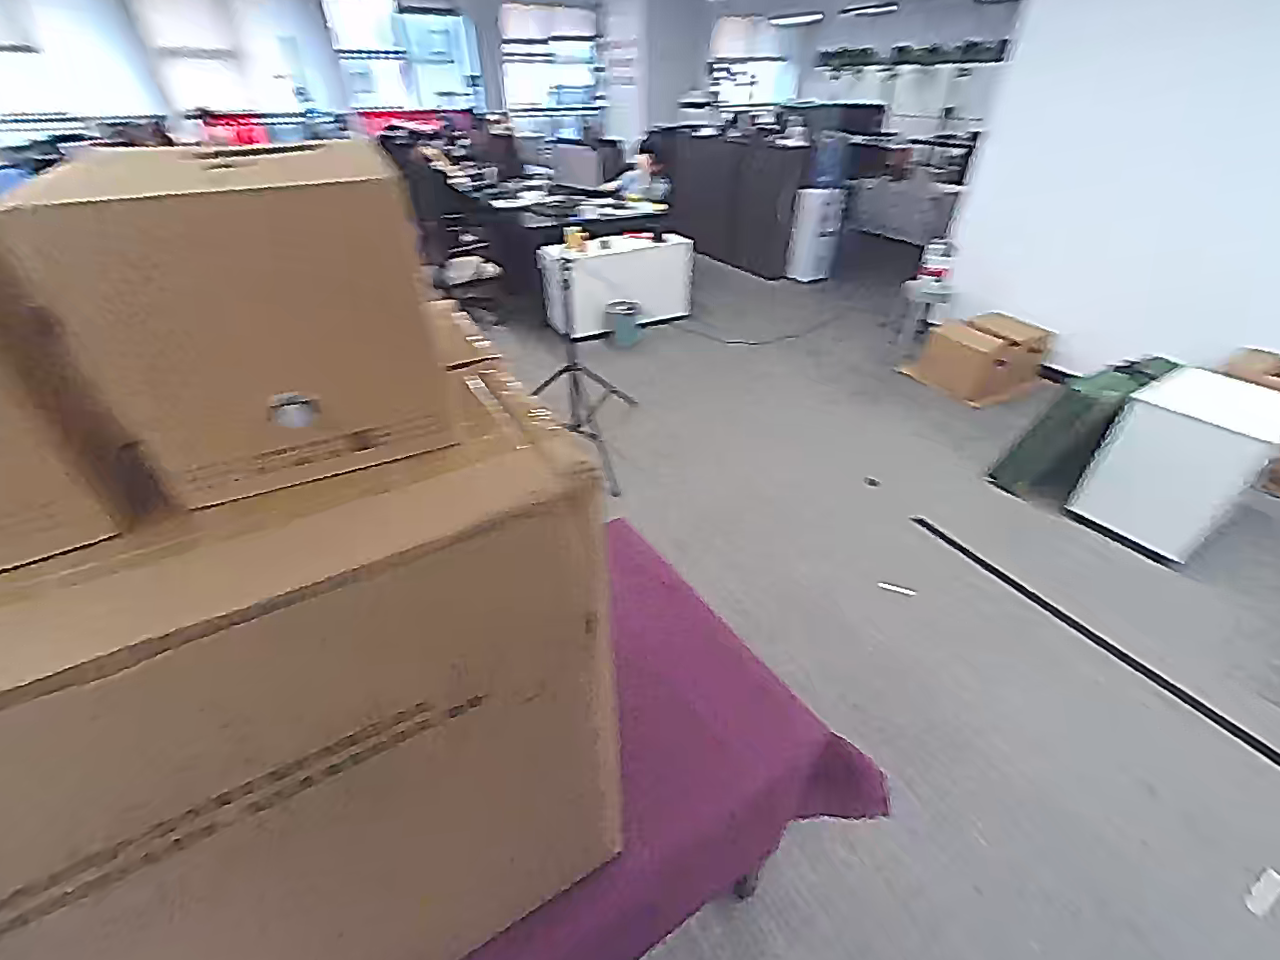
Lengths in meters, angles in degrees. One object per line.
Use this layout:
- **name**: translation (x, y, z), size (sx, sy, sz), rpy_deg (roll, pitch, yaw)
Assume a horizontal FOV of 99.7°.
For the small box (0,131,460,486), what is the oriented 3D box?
- **small box**: translation (-0.231, -0.123, 0.356), size (0.168, 0.176, 0.179), rpy_deg (-17, 40, -20)
